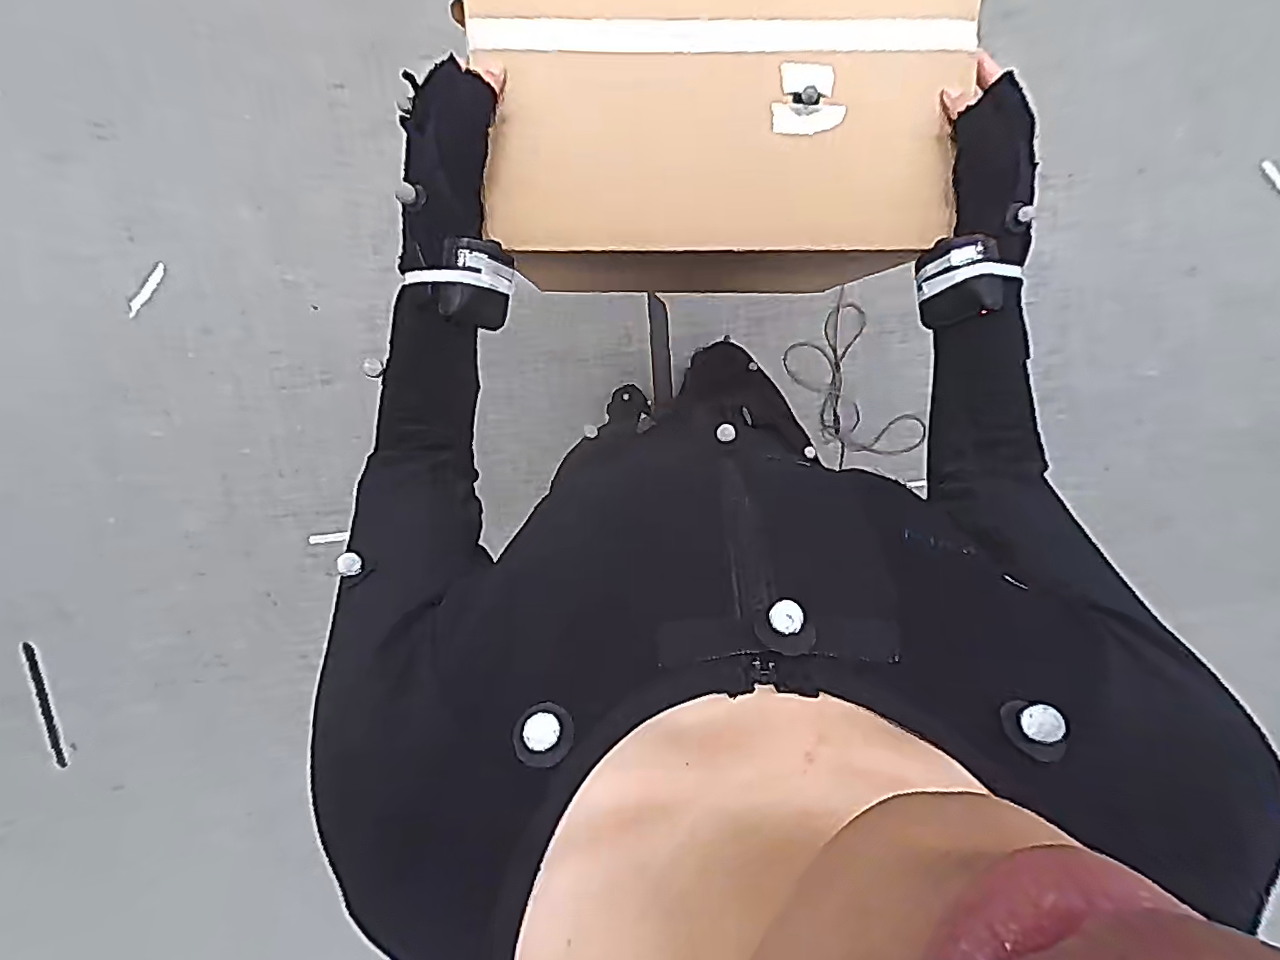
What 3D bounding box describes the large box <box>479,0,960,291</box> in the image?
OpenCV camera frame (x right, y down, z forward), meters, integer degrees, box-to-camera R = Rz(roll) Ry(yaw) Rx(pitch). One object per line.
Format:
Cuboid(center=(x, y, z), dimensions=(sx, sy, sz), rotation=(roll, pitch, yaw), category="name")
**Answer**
Cuboid(center=(0.061, -0.394, 0.596), dimensions=(0.408, 0.320, 0.320), rotation=(-1, 103, -2), category="large box")
